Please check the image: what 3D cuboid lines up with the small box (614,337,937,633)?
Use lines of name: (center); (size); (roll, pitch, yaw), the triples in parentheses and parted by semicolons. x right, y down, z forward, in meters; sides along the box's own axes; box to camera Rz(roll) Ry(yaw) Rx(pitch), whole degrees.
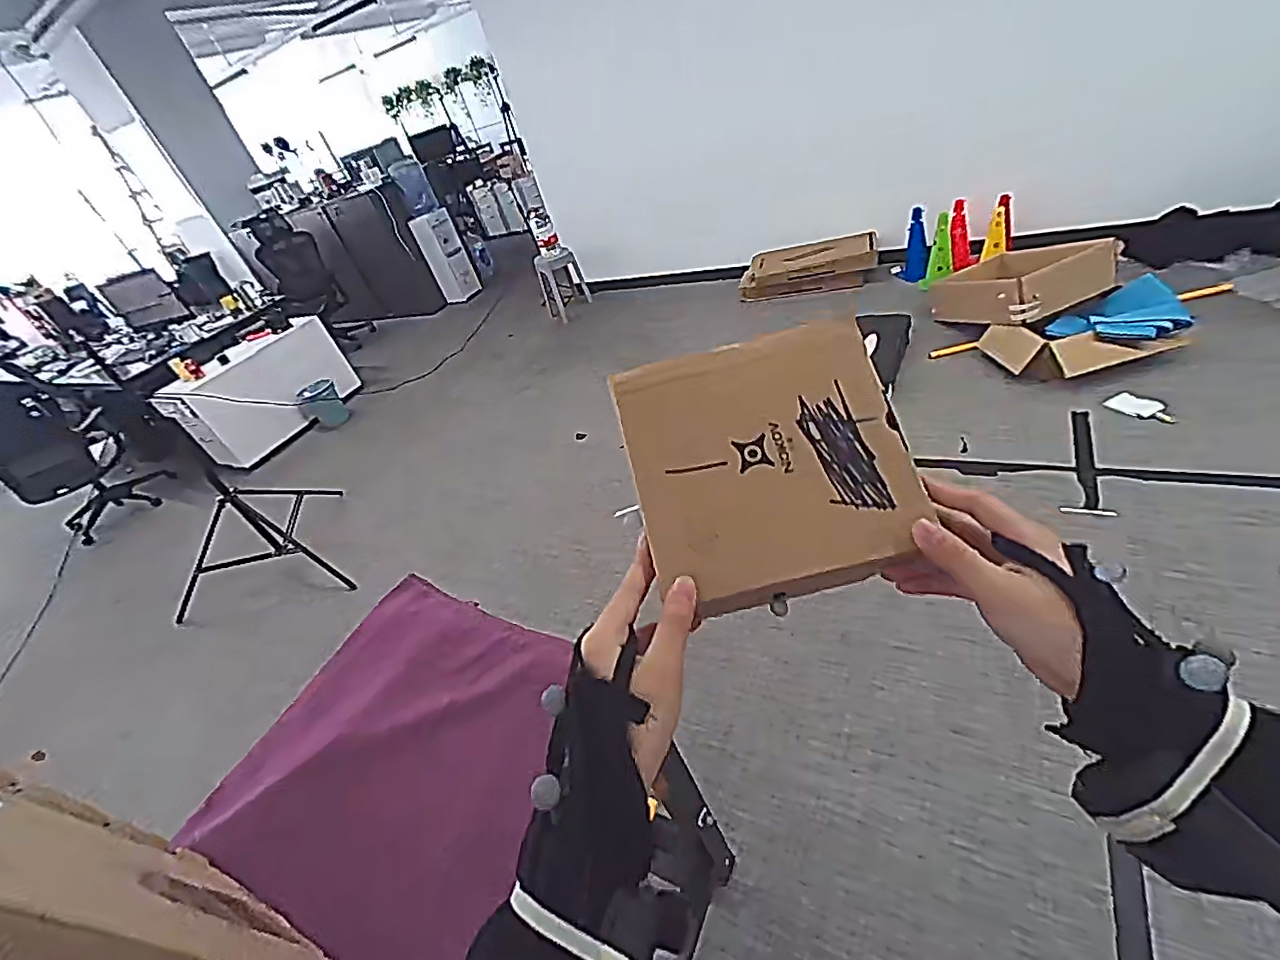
small box: (0.088, 0.018, 0.430); (0.179, 0.176, 0.168); (-14, 70, 0)
